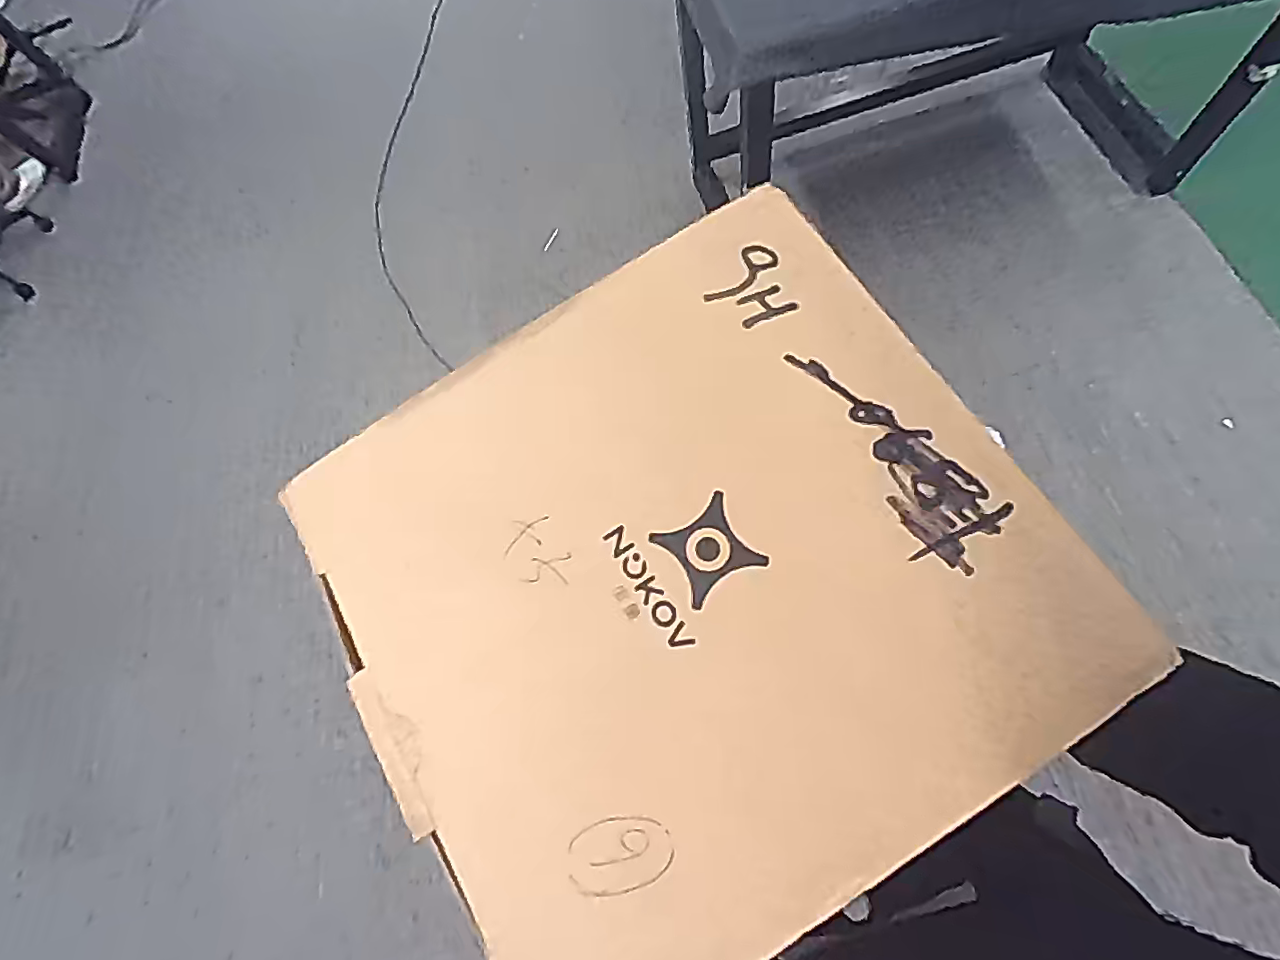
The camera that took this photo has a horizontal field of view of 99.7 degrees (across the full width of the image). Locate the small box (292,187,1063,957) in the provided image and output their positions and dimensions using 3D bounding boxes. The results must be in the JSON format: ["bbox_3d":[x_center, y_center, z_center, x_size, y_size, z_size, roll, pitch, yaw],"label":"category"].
[{"bbox_3d":[0.008,0.030,0.236,0.179,0.176,0.168,-34,74,-3],"label":"small box"}]
